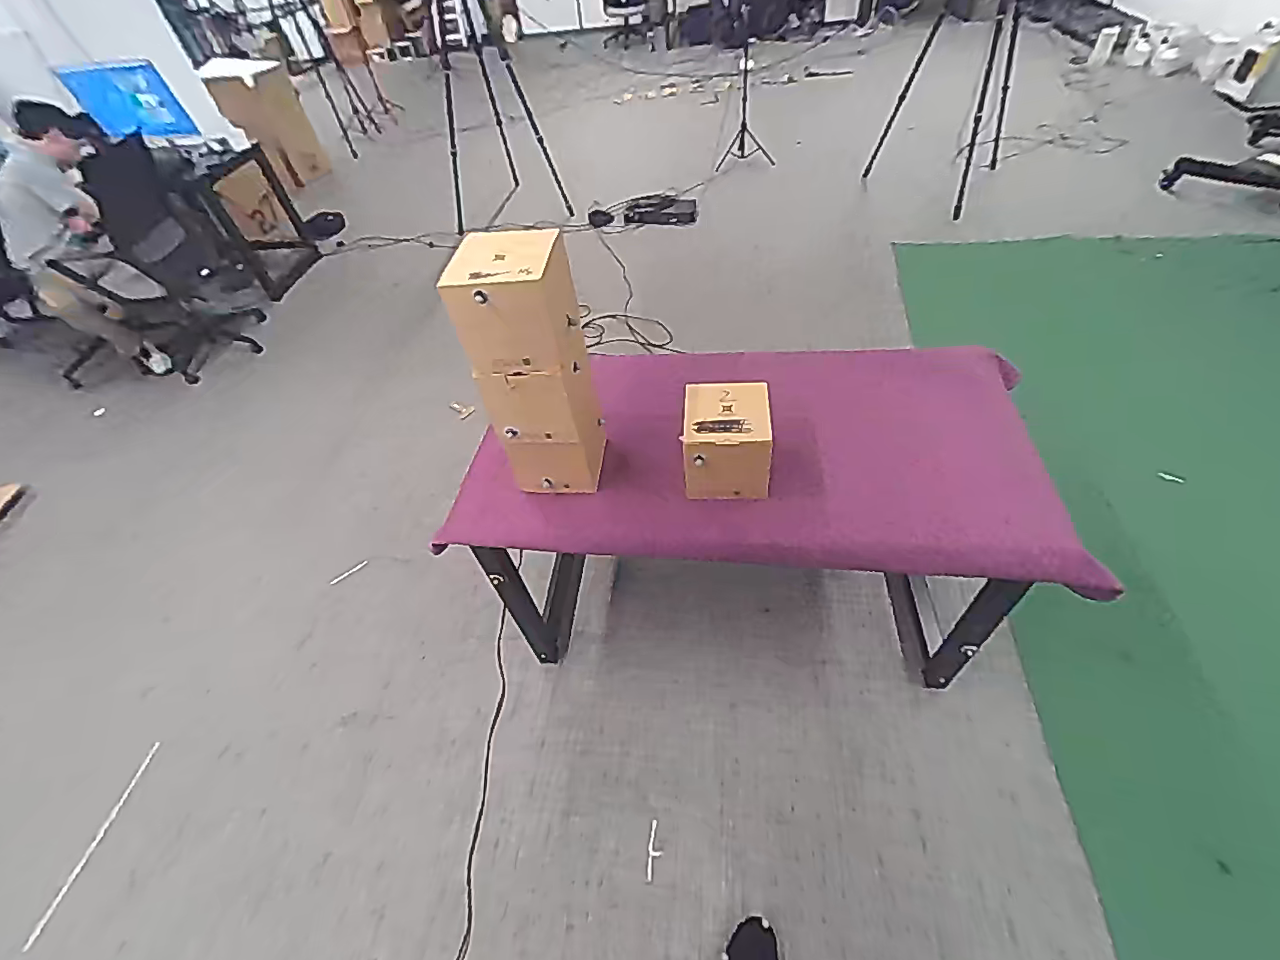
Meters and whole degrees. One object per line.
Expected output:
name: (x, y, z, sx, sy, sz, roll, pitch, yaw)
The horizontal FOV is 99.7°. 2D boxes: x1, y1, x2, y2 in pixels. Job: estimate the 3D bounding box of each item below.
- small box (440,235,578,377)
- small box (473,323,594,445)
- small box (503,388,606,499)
small box: (-0.209, -0.295, 0.922, 0.168, 0.176, 0.179, -1, 48, 9)
small box: (-0.192, -0.181, 1.039, 0.168, 0.176, 0.179, 0, 47, 9)
small box: (-0.174, -0.079, 1.166, 0.168, 0.176, 0.179, 0, 49, 9)
